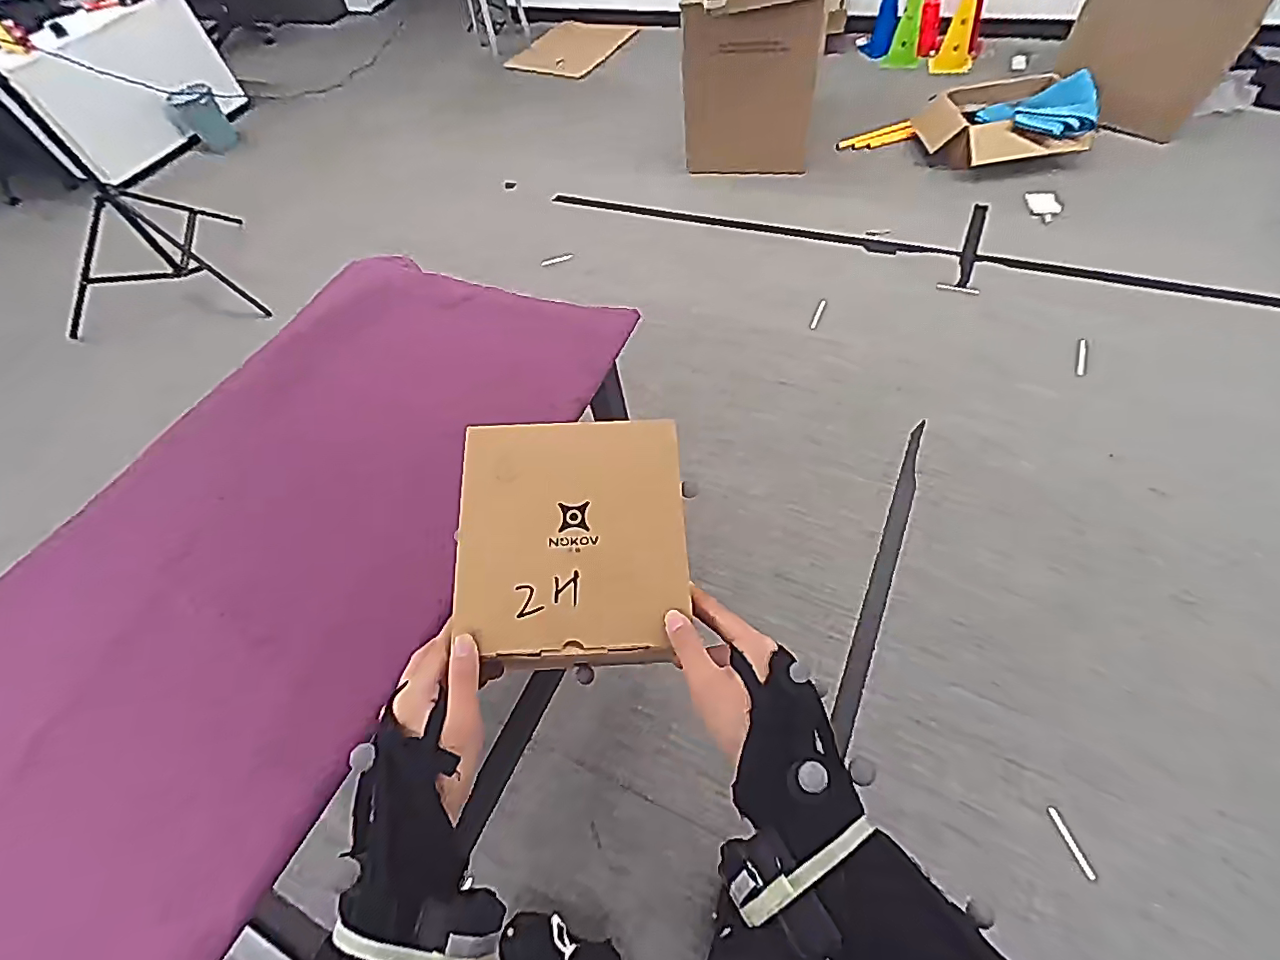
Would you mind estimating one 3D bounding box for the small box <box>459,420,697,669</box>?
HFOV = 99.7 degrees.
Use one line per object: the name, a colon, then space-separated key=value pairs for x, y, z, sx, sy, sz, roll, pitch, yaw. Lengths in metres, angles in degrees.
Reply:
small box: x=-0.046 y=0.064 z=0.473 sx=0.168 sy=0.176 sz=0.179 roll=-2 pitch=67 yaw=-2
